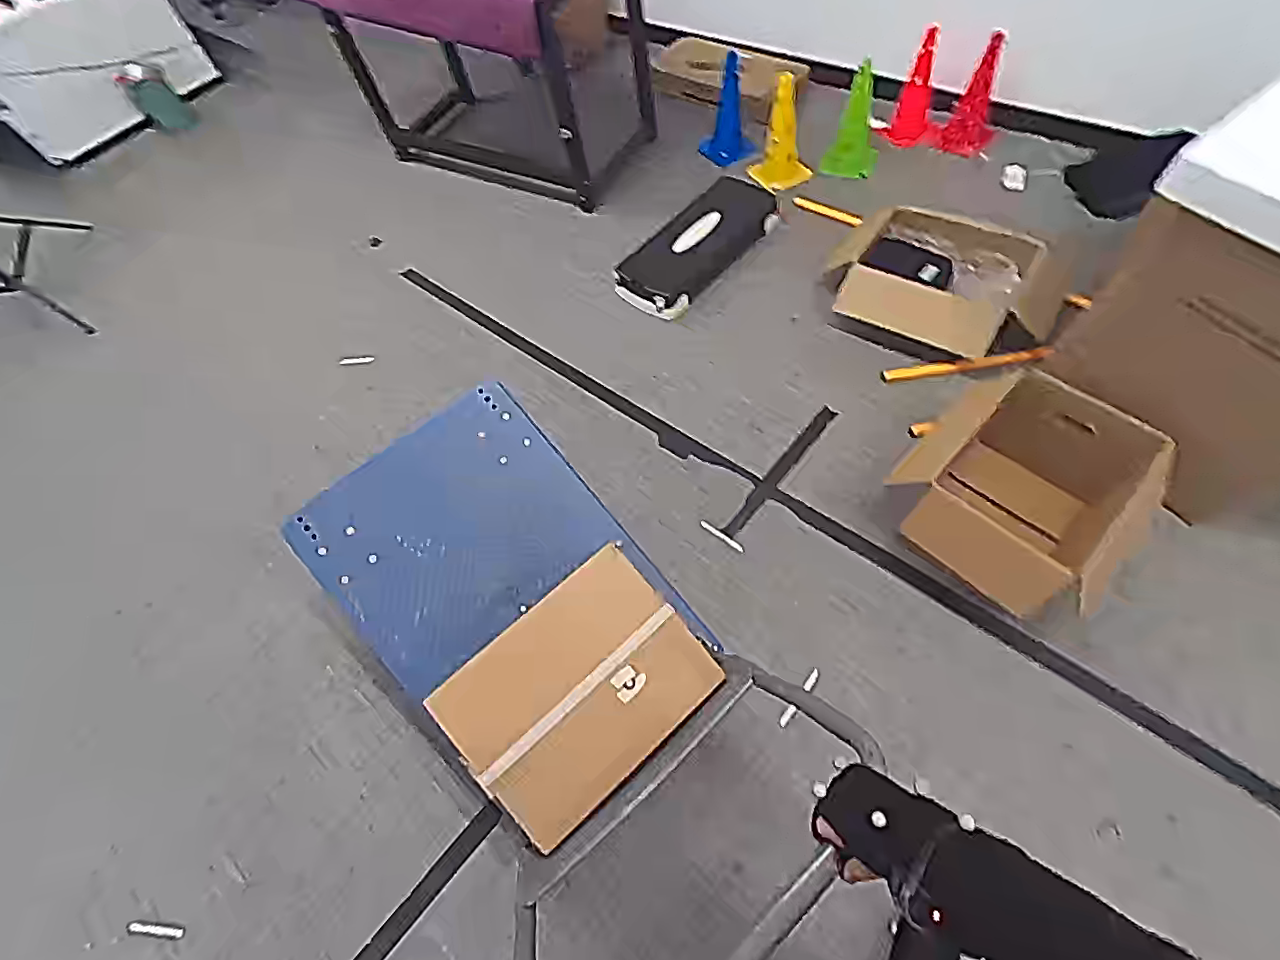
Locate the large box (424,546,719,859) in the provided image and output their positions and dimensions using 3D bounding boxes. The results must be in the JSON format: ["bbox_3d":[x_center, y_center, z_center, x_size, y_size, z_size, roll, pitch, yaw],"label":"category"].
[{"bbox_3d":[-0.127,0.387,1.040,0.408,0.320,0.320,-41,87,-15],"label":"large box"}]
